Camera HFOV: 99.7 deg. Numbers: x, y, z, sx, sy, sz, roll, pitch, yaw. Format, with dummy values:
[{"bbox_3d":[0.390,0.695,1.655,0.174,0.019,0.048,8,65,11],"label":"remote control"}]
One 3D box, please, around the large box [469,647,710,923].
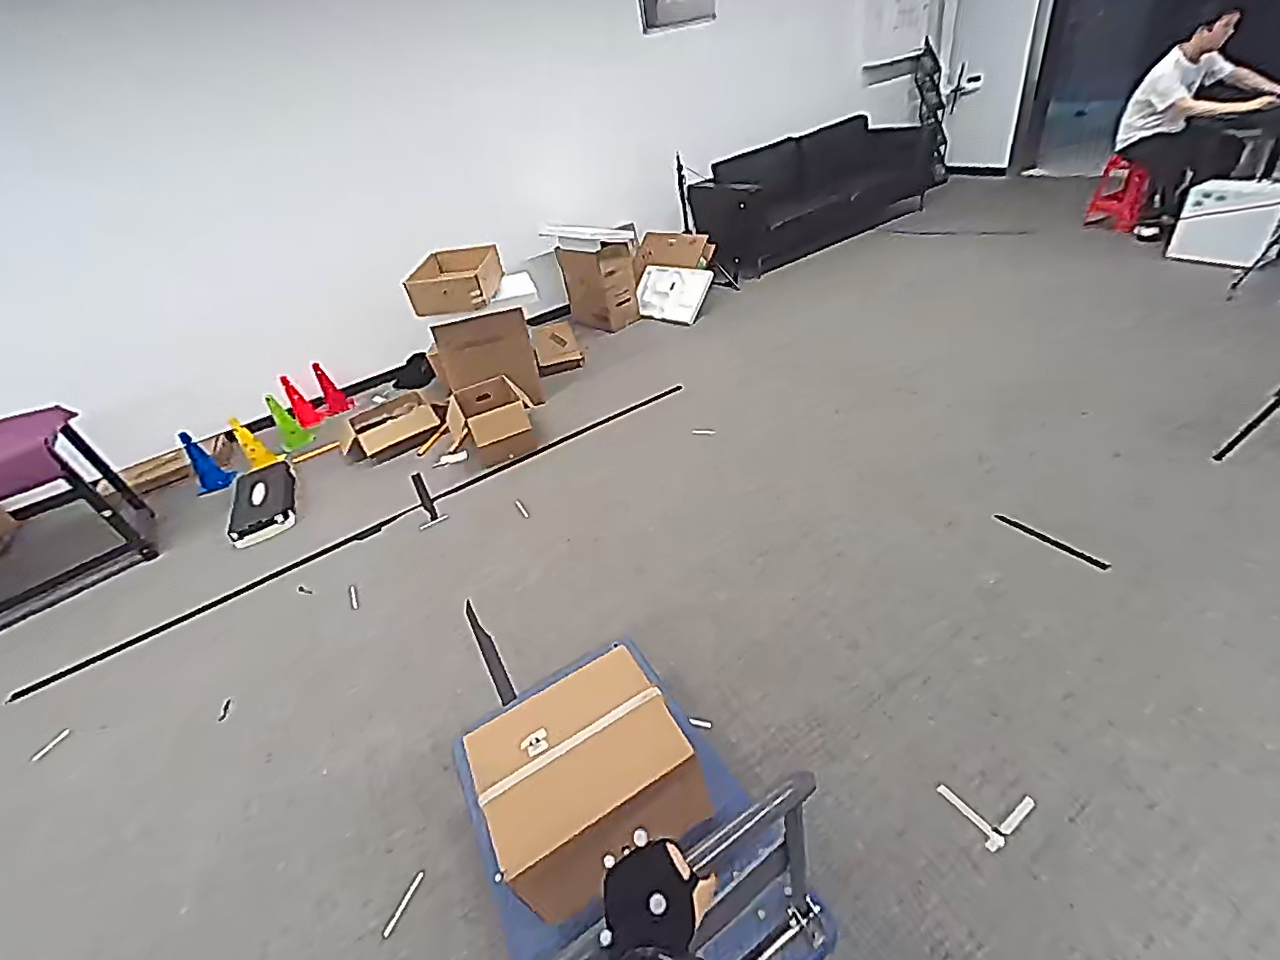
[{"bbox_3d":[-0.103,0.667,1.213,0.408,0.320,0.320,-27,38,-16],"label":"large box"}]
